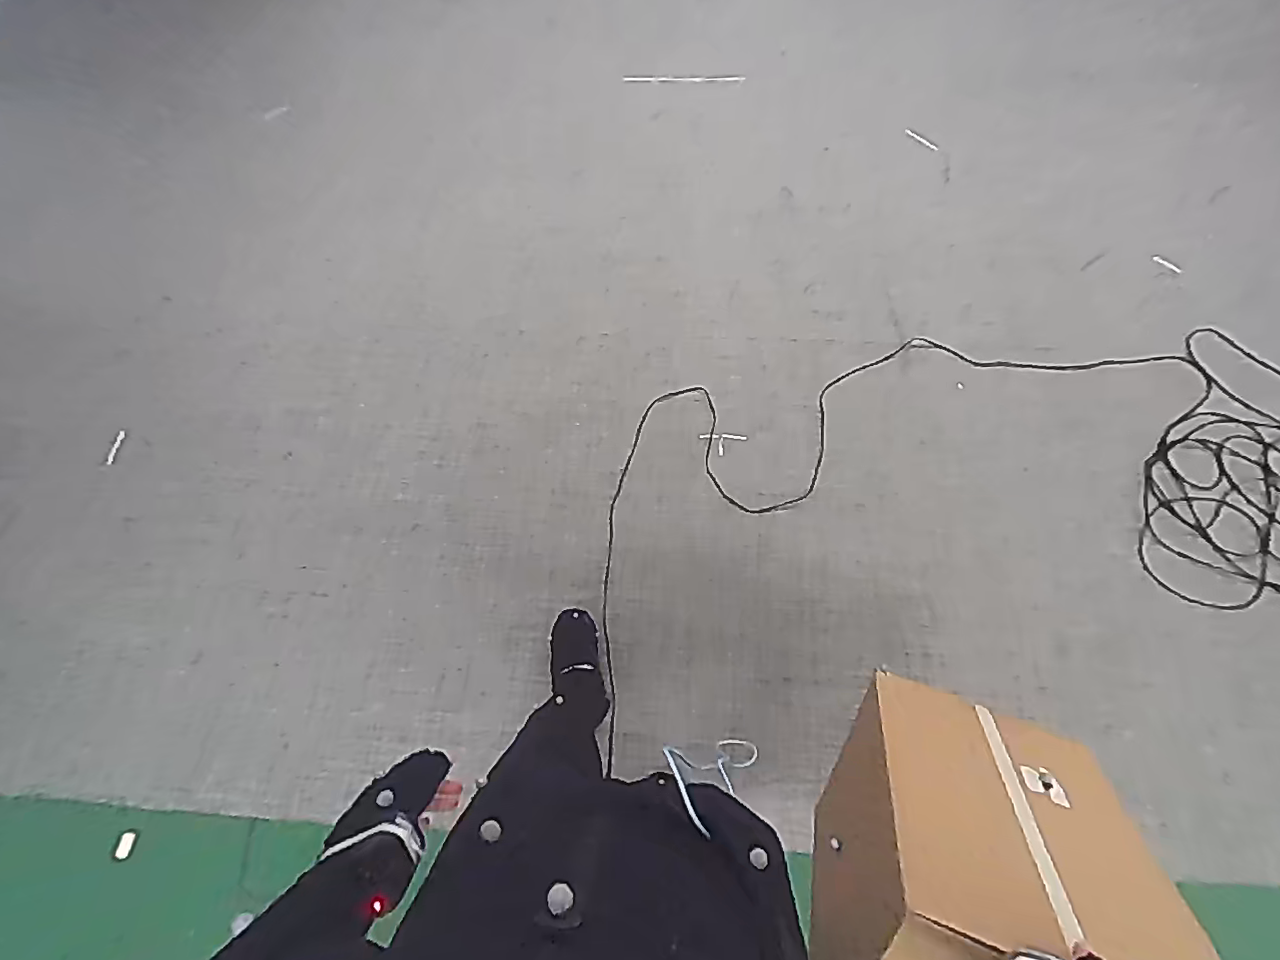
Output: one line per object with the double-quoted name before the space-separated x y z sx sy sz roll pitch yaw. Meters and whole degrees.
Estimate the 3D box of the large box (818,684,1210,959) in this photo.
"large box" 0.428 0.557 0.704 0.320 0.408 0.320 18 108 14
